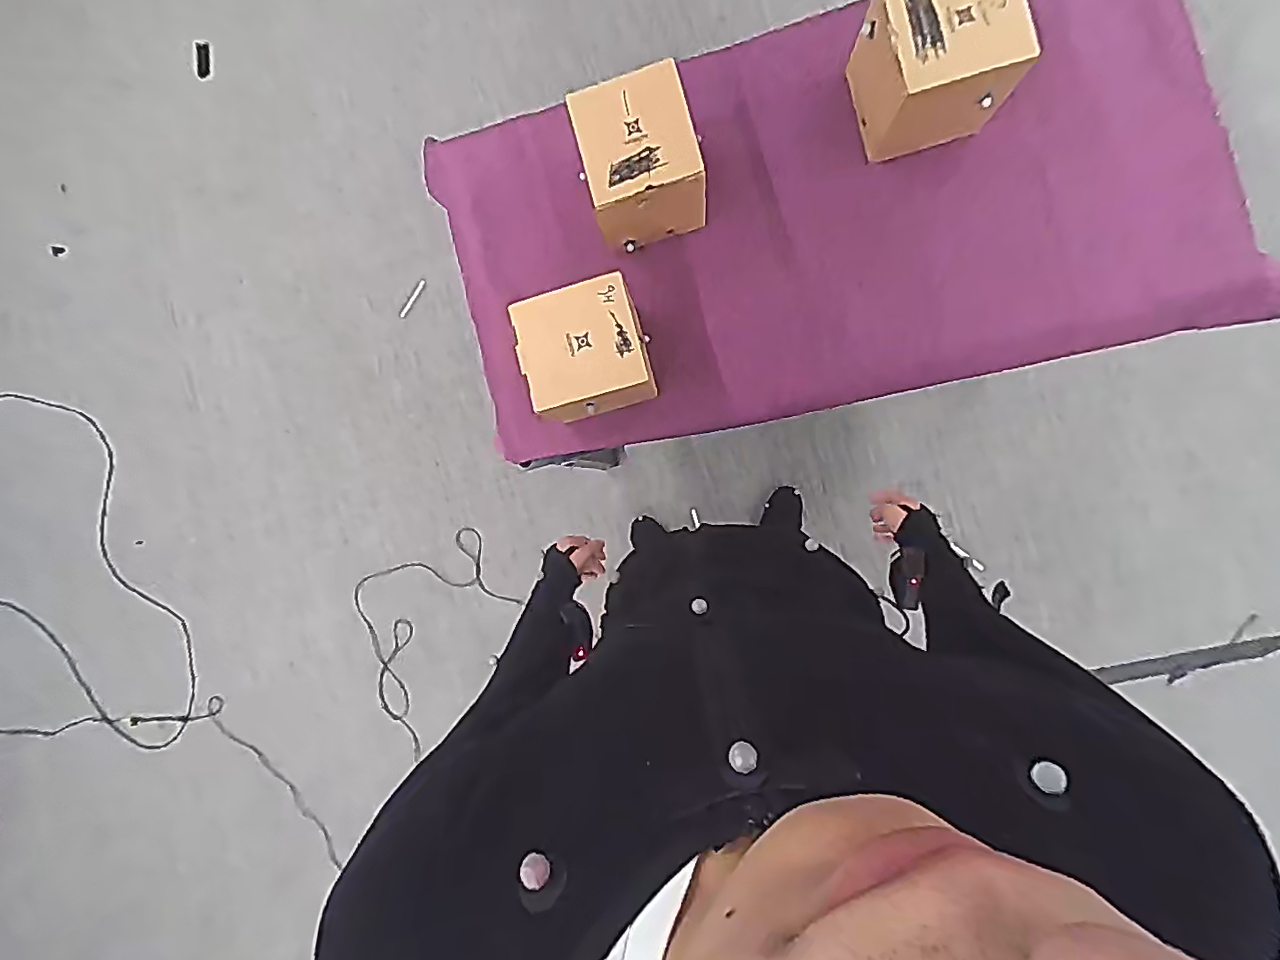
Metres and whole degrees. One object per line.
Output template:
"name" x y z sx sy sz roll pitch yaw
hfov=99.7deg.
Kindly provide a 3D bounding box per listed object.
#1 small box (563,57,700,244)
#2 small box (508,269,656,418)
"small box" -0.003 -0.498 0.852 0.168 0.176 0.179 -15 88 6
"small box" -0.083 -0.203 0.860 0.179 0.176 0.168 -14 89 7
